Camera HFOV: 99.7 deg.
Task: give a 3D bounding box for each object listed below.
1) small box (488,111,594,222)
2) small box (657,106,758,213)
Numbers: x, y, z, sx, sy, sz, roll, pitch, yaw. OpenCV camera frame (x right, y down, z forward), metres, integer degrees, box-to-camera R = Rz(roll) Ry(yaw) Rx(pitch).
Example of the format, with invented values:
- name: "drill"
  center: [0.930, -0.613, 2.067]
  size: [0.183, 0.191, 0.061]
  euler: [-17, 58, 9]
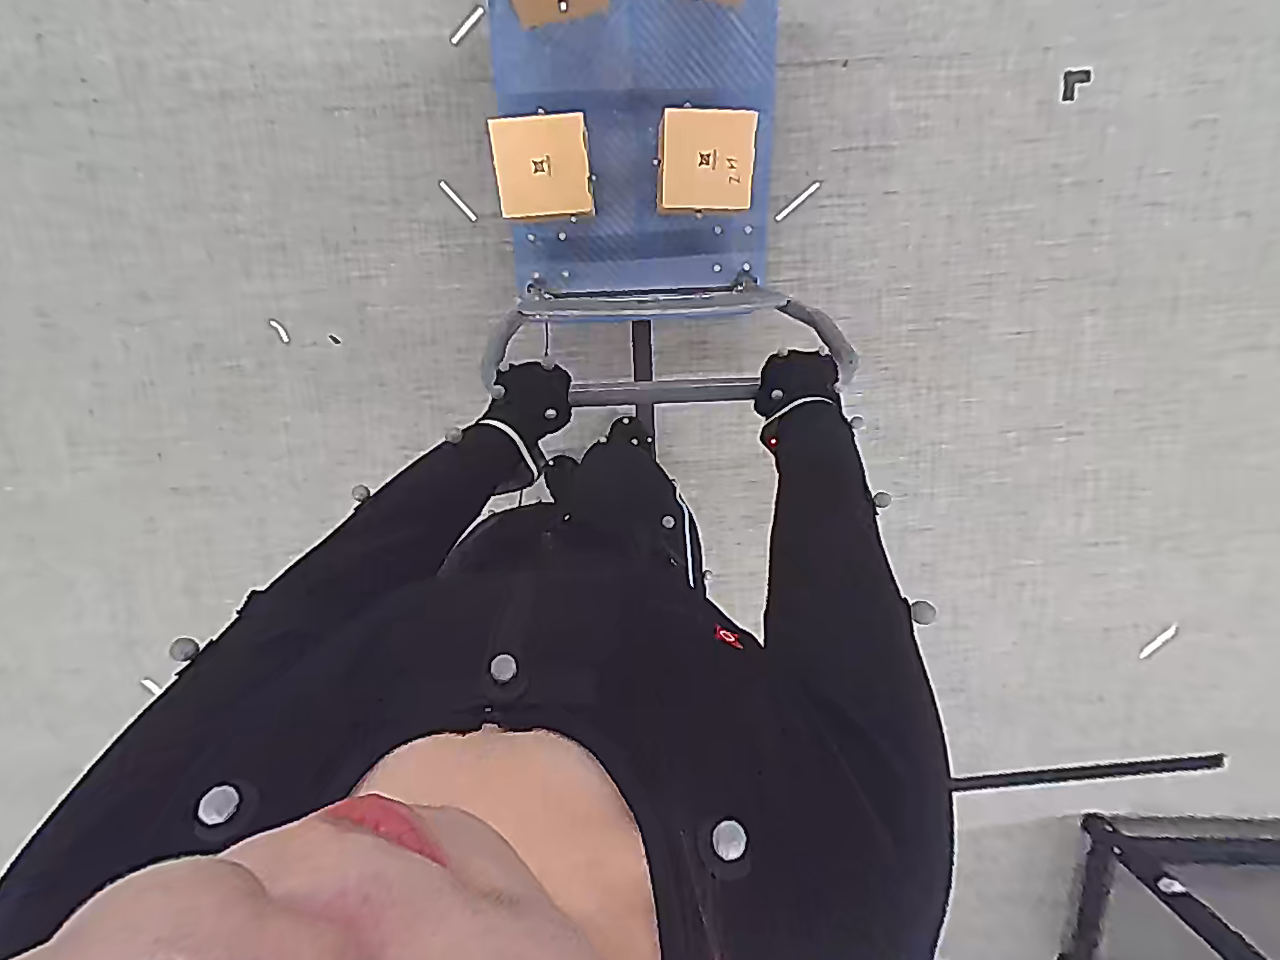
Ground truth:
- name: "small box"
  center: [-0.189, -0.620, 1.087]
  size: [0.179, 0.176, 0.168]
  euler: [-6, 113, -2]
- name: "small box"
  center: [0.127, -0.637, 1.094]
  size: [0.179, 0.176, 0.168]
  euler: [0, 113, -3]
